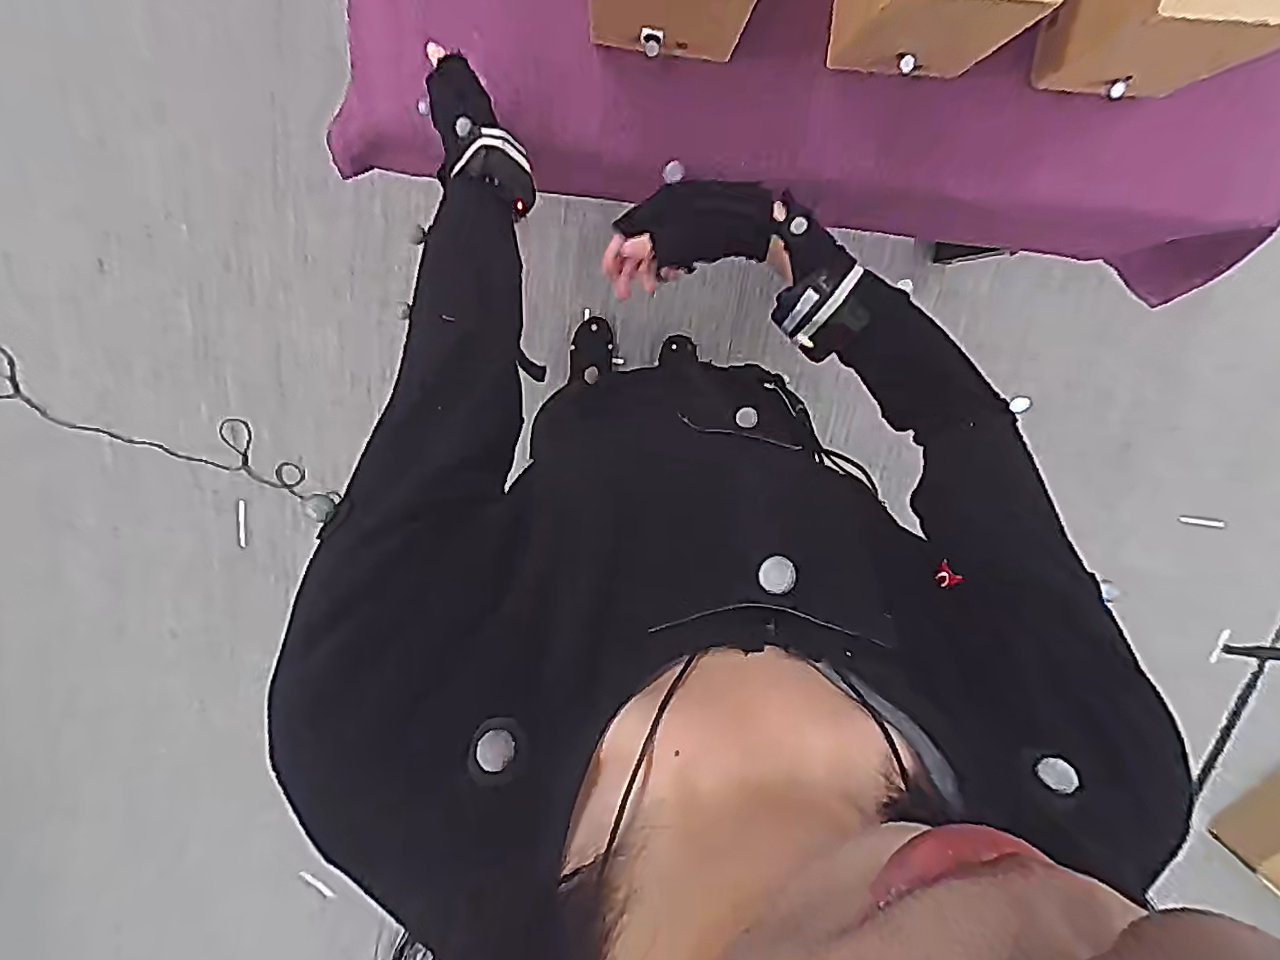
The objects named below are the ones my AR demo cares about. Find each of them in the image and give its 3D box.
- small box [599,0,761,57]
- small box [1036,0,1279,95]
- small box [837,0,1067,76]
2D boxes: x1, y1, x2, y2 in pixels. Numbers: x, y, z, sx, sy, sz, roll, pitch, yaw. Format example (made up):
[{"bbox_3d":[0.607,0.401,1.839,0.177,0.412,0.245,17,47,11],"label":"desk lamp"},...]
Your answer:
[{"bbox_3d":[0.043,-0.565,0.532,0.168,0.176,0.179,3,106,-4],"label":"small box"},{"bbox_3d":[0.583,-0.541,0.577,0.179,0.176,0.168,2,106,-5],"label":"small box"},{"bbox_3d":[0.321,-0.557,0.553,0.168,0.176,0.179,2,106,-4],"label":"small box"}]
